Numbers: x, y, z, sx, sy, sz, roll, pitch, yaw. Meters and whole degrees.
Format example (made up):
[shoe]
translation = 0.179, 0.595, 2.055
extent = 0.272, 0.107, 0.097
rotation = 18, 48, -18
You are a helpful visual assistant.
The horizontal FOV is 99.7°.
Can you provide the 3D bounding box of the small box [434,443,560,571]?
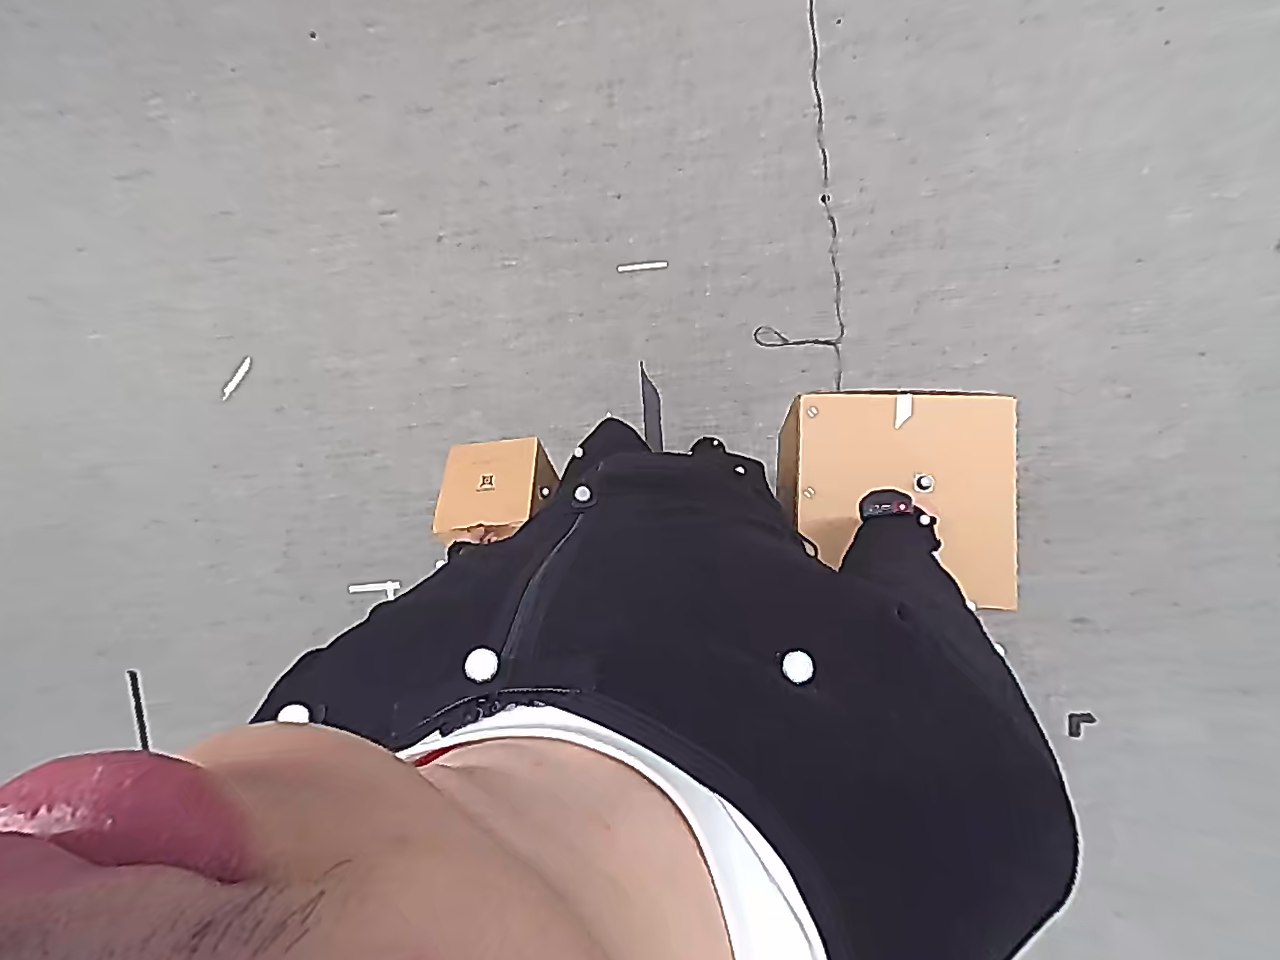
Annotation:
[small box]
translation = -0.249, 0.057, 0.989
extent = 0.168, 0.176, 0.179
rotation = -6, 56, 6
